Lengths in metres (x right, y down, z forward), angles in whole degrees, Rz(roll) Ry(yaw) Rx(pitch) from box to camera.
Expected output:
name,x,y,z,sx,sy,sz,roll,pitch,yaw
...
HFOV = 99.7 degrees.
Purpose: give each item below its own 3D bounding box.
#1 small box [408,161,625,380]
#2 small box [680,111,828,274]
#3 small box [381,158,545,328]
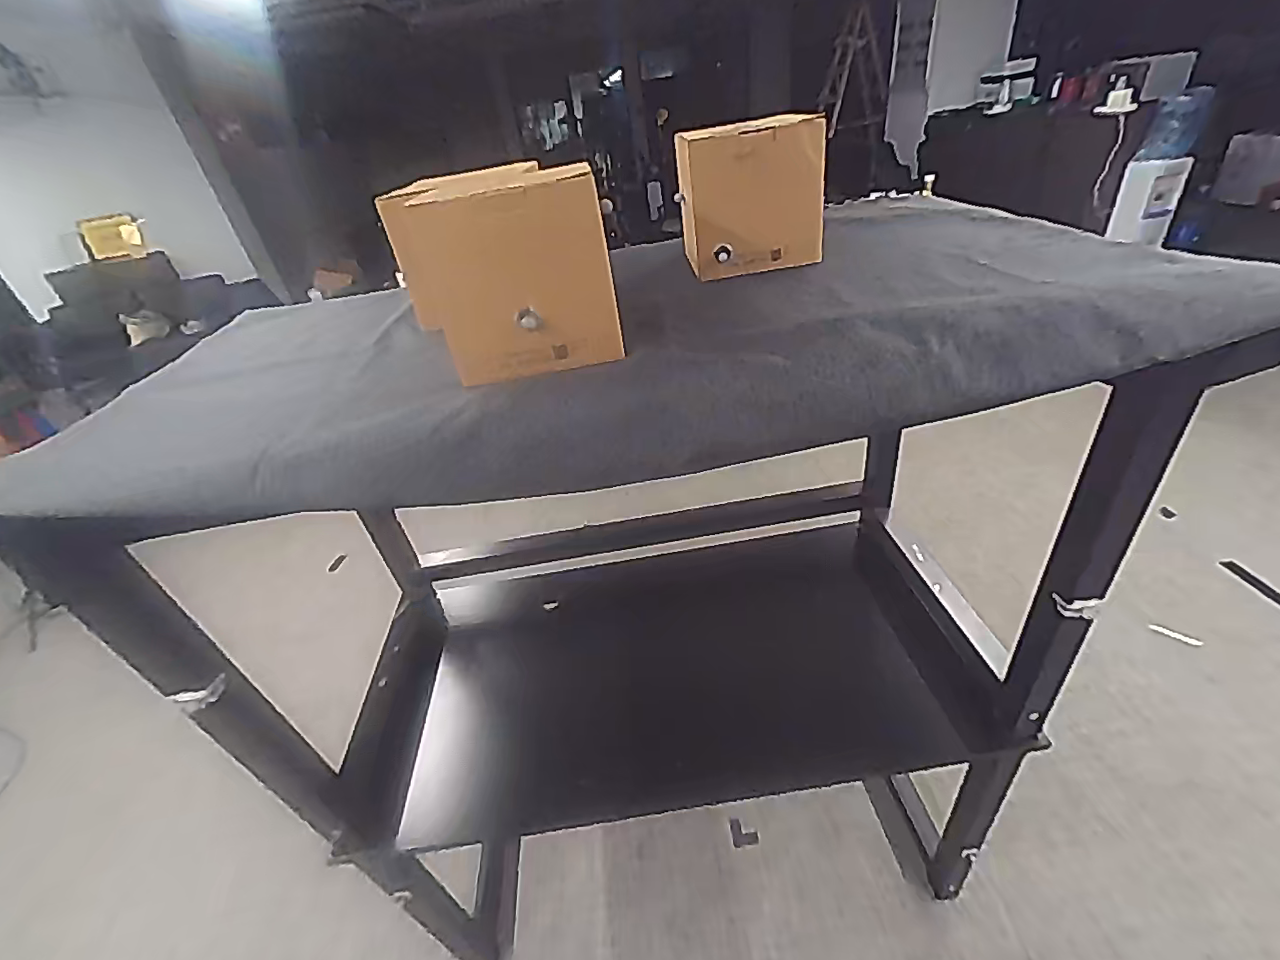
name,x,y,z,sx,sy,sz,roll,pitch,yaw
small box,-0.112,-0.221,0.565,0.168,0.176,0.179,-10,34,0
small box,0.151,-0.393,0.748,0.168,0.176,0.179,-8,34,3
small box,-0.208,-0.323,0.738,0.179,0.176,0.168,-7,35,5
